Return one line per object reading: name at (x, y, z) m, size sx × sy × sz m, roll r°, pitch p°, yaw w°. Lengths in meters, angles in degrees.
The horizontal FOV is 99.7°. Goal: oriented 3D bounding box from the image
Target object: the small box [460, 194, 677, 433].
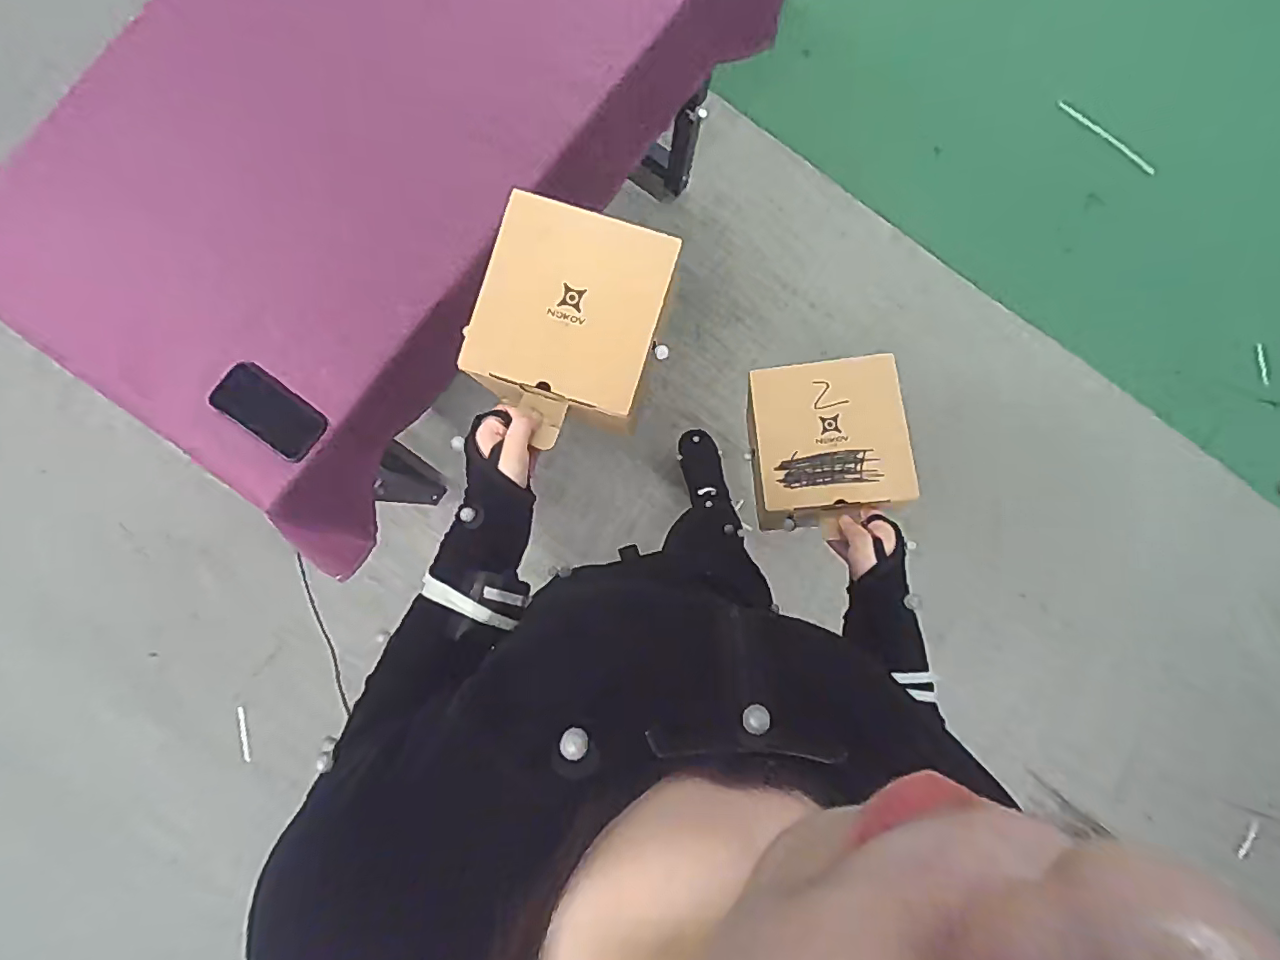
small box at (-0.069, -0.161, 0.585) m, size 0.168 × 0.176 × 0.179 m, roll 17°, pitch 89°, yaw 0°
